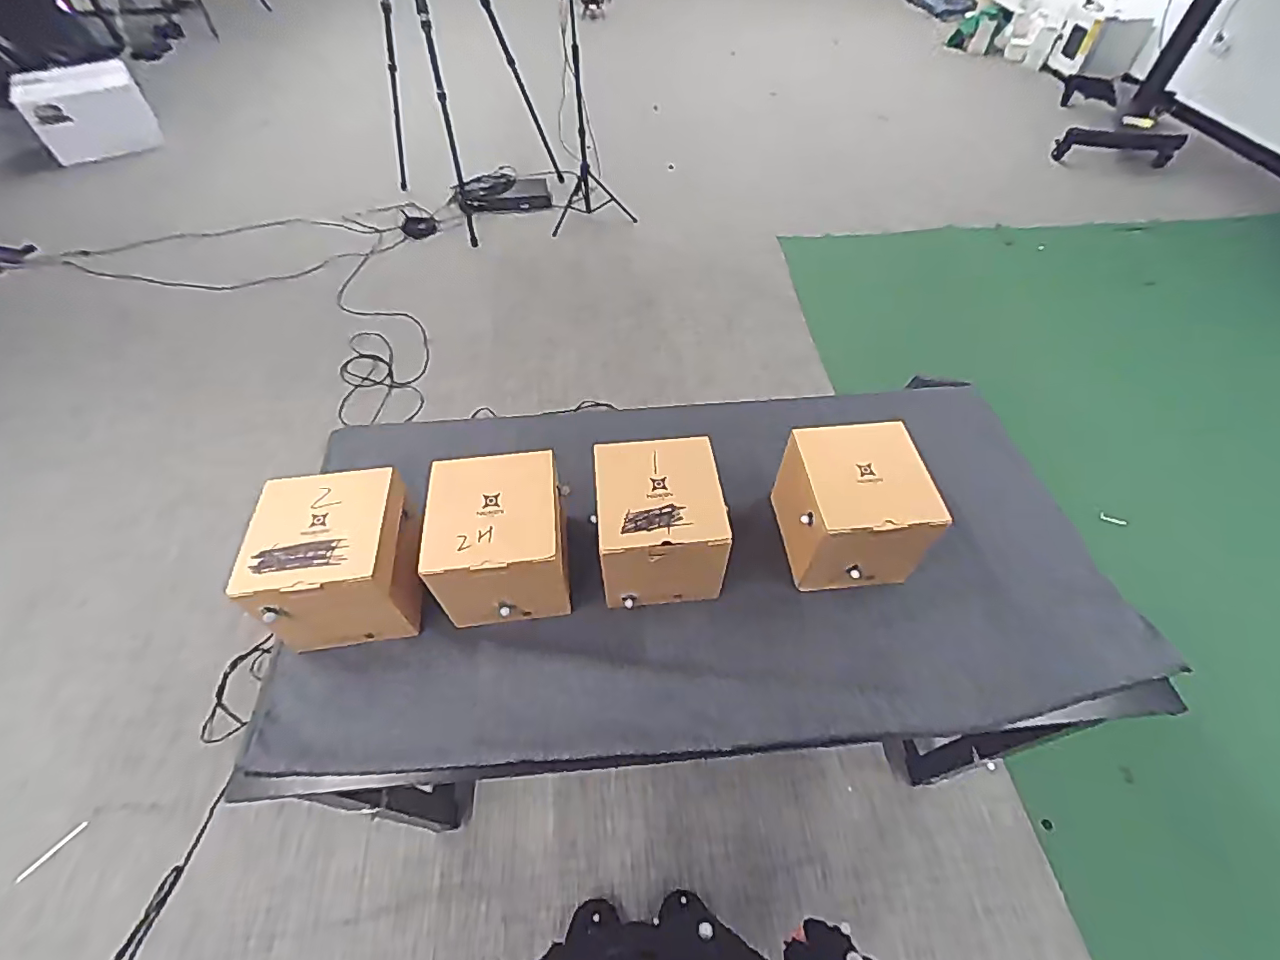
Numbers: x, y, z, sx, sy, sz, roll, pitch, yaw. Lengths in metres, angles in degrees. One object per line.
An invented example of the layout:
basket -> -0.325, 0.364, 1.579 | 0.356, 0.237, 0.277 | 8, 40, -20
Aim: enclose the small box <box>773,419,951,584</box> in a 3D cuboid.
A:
small box -> 0.306, 0.033, 0.793 | 0.168, 0.176, 0.179 | -5, 54, -3
